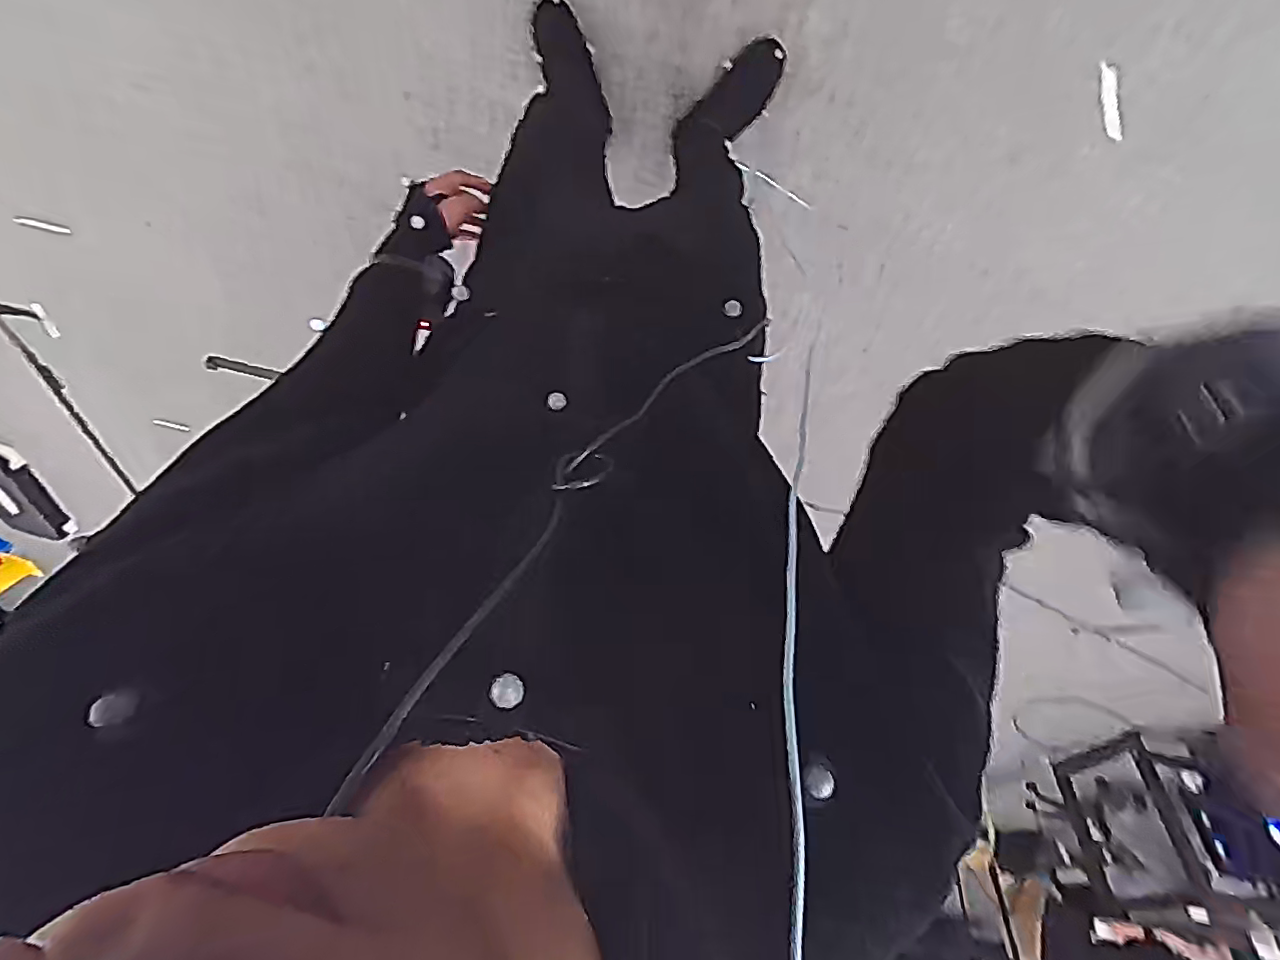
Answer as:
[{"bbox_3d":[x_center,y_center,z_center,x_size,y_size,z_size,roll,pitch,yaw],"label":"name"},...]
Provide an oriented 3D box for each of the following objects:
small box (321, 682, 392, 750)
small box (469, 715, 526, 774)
[{"bbox_3d":[-1.032,0.863,1.982,0.168,0.176,0.179,15,137,-5],"label":"small box"},{"bbox_3d":[-0.532,1.001,2.020,0.168,0.176,0.179,16,136,-4],"label":"small box"}]
